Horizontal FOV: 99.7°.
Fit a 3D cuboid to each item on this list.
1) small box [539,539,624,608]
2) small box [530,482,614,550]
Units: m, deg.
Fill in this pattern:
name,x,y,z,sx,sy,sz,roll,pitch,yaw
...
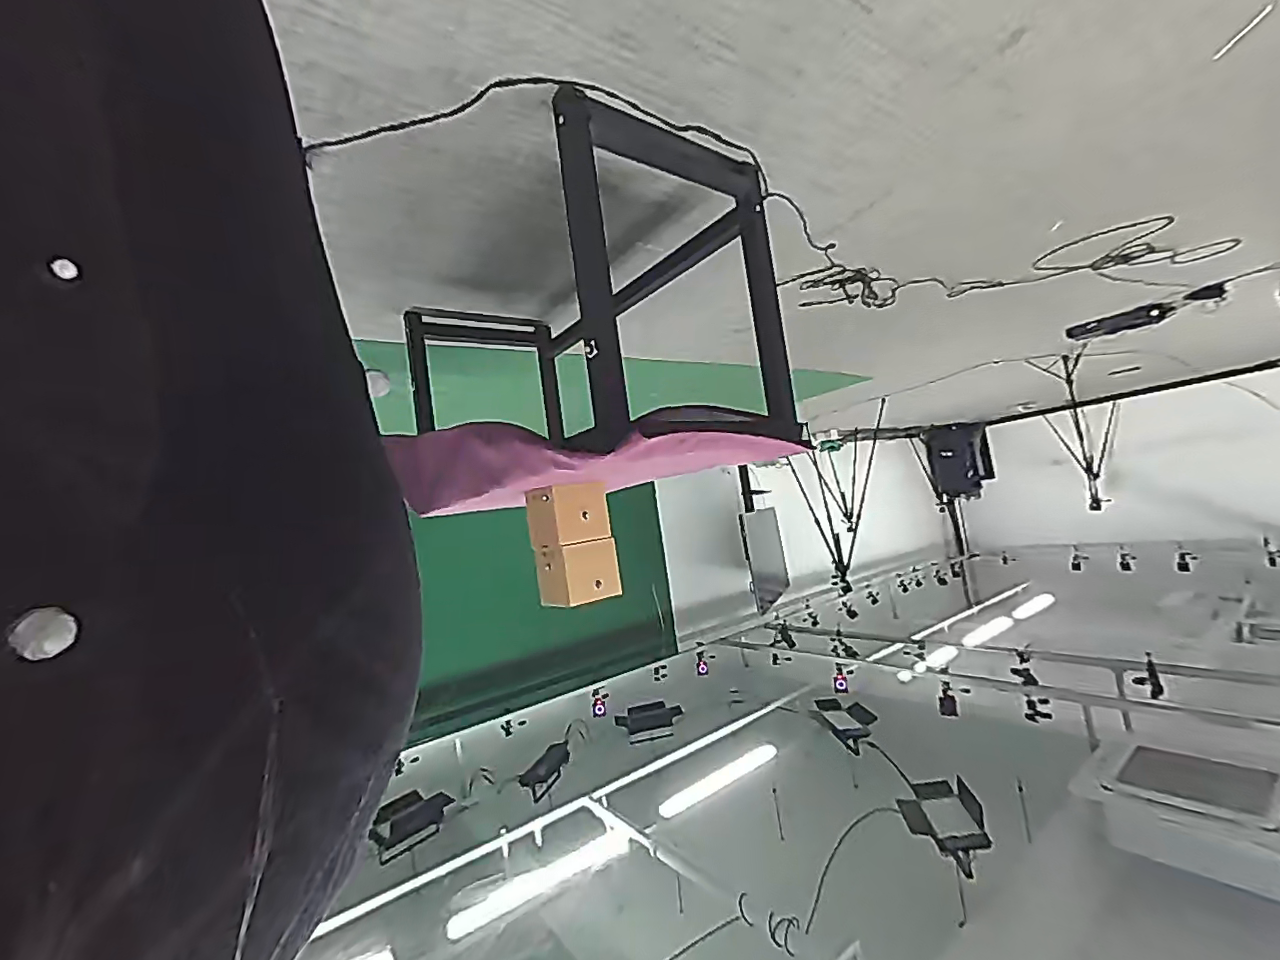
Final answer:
name,x,y,z,sx,sy,sz,roll,pitch,yaw
small box,-0.170,0.265,1.557,0.179,0.176,0.168,-5,174,-38
small box,-0.203,0.103,1.565,0.179,0.176,0.168,-6,175,-39
